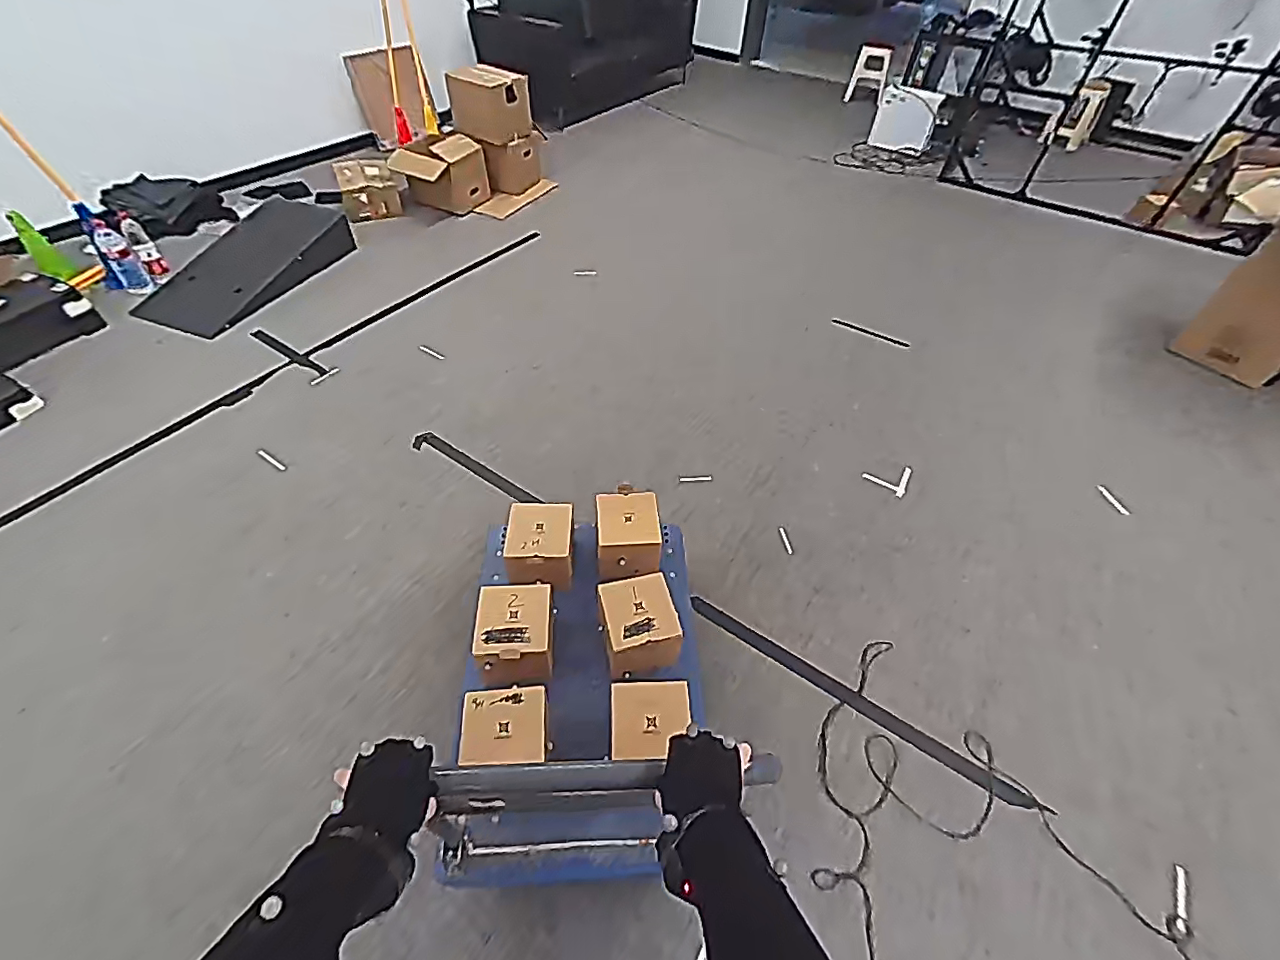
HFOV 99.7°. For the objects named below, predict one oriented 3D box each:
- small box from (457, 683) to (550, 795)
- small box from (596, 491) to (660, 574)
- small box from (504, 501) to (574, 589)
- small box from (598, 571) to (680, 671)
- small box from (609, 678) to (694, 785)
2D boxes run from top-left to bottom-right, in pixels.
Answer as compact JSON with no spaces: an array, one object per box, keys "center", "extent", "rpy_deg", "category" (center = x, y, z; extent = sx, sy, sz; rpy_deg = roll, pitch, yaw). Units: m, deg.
[{"center":[-0.278,0.550,1.142],"extent":[0.168,0.176,0.179],"rpy_deg":[-2,49,-7],"category":"small box"},{"center":[-0.037,0.152,1.518],"extent":[0.168,0.176,0.179],"rpy_deg":[-2,48,-6],"category":"small box"},{"center":[-0.267,0.177,1.474],"extent":[0.168,0.176,0.179],"rpy_deg":[1,49,-3],"category":"small box"},{"center":[-0.007,0.355,1.338],"extent":[0.168,0.176,0.179],"rpy_deg":[-9,49,-12],"category":"small box"},{"center":[0.019,0.547,1.169],"extent":[0.168,0.176,0.179],"rpy_deg":[1,48,-4],"category":"small box"}]
